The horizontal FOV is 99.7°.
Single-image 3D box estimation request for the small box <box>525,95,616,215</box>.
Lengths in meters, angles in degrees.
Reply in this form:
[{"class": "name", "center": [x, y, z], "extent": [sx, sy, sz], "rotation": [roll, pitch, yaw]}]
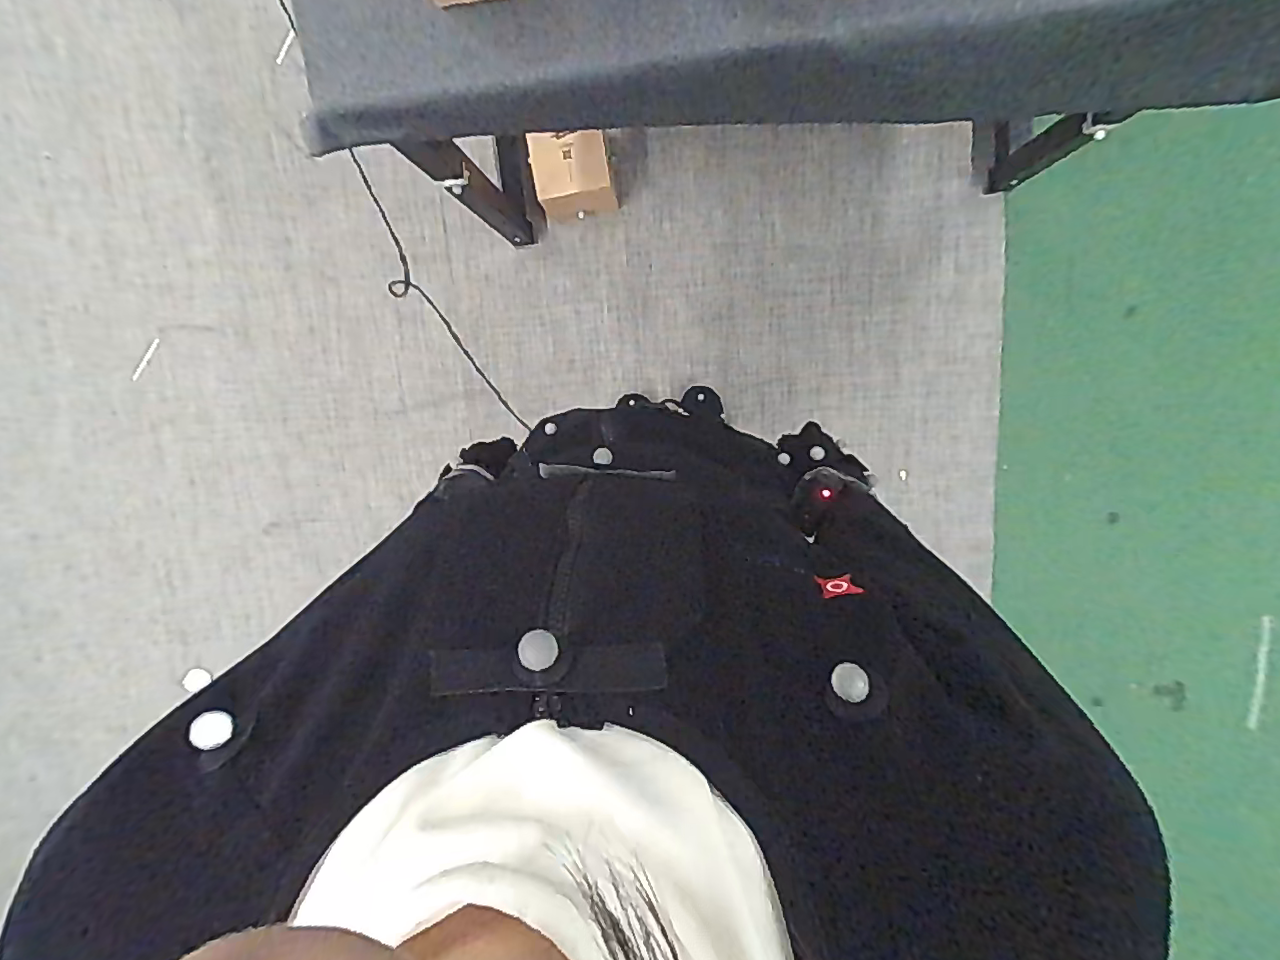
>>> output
[{"class": "small box", "center": [-0.152, -0.732, 1.237], "extent": [0.168, 0.176, 0.179], "rotation": [-7, 100, 5]}]
